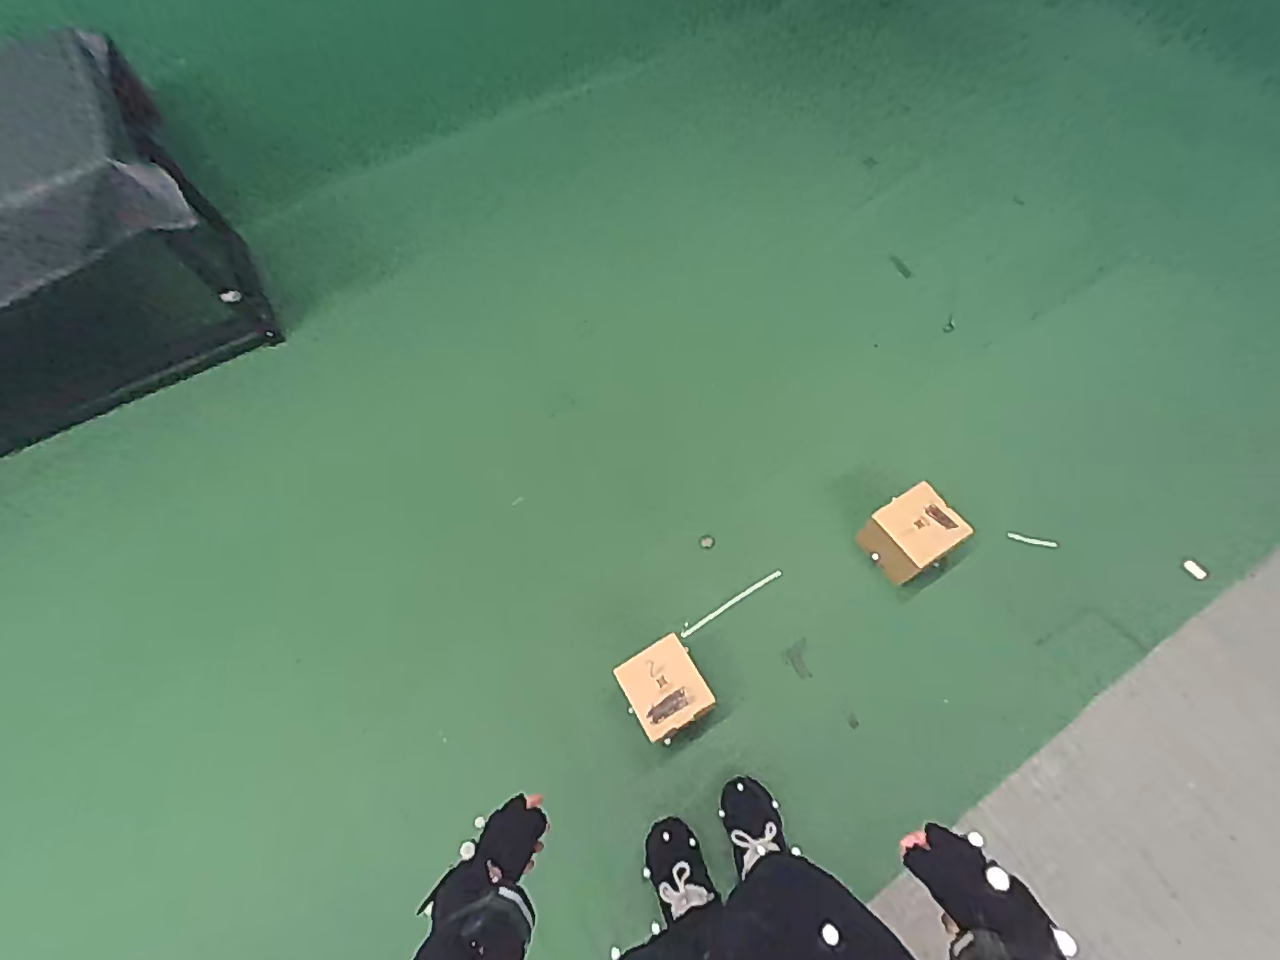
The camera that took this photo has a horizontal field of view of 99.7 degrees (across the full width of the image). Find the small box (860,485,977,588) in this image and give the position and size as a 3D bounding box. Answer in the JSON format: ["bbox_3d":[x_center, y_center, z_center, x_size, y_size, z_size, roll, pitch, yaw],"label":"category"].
[{"bbox_3d":[0.695,0.147,1.373,0.179,0.176,0.168,-30,64,-10],"label":"small box"}]
